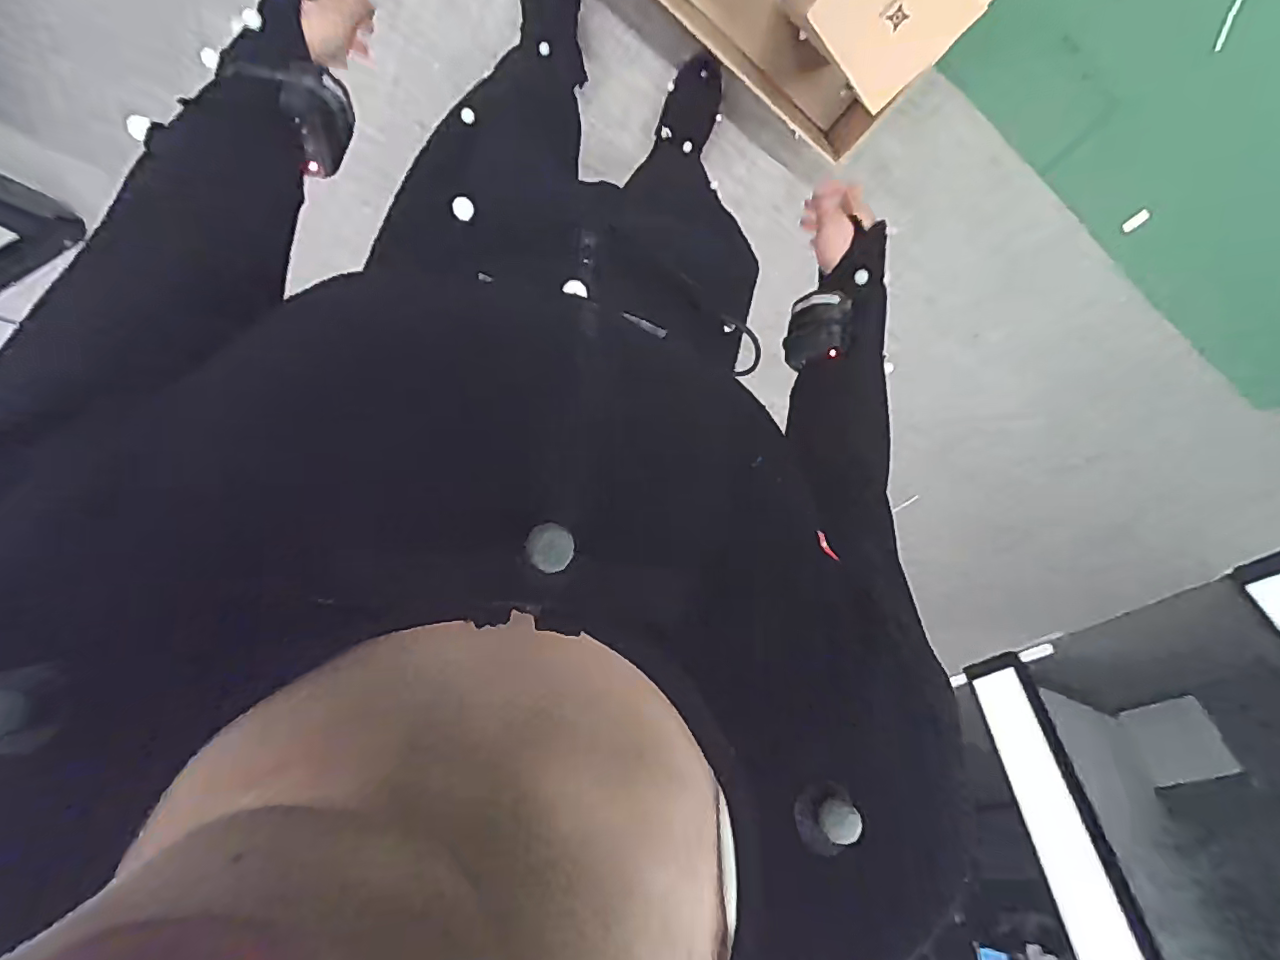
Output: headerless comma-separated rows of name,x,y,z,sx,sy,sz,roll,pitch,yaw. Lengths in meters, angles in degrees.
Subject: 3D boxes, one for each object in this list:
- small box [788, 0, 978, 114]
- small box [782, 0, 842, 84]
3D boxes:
small box,0.333,-0.678,0.766,0.179,0.176,0.168,33,130,-29
small box,0.342,-0.803,0.873,0.168,0.176,0.179,33,132,-28
